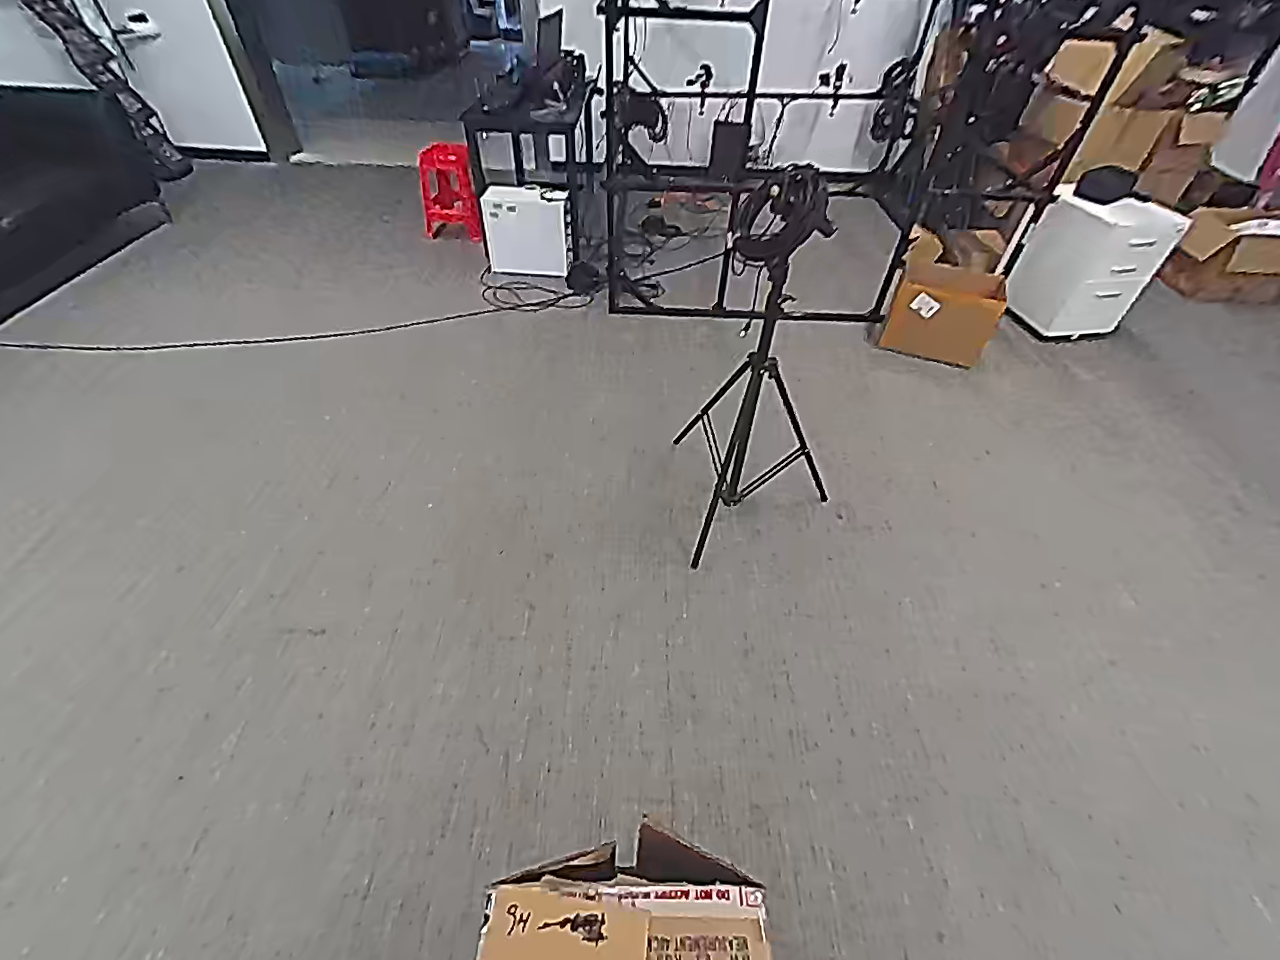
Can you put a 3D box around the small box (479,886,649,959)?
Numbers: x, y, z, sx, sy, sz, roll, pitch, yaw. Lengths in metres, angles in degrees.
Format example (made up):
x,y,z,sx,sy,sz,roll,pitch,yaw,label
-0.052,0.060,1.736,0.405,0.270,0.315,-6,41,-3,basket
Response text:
x,y,z,sx,sy,sz,roll,pitch,yaw,label
-0.087,0.556,0.568,0.168,0.176,0.179,8,47,2,small box
